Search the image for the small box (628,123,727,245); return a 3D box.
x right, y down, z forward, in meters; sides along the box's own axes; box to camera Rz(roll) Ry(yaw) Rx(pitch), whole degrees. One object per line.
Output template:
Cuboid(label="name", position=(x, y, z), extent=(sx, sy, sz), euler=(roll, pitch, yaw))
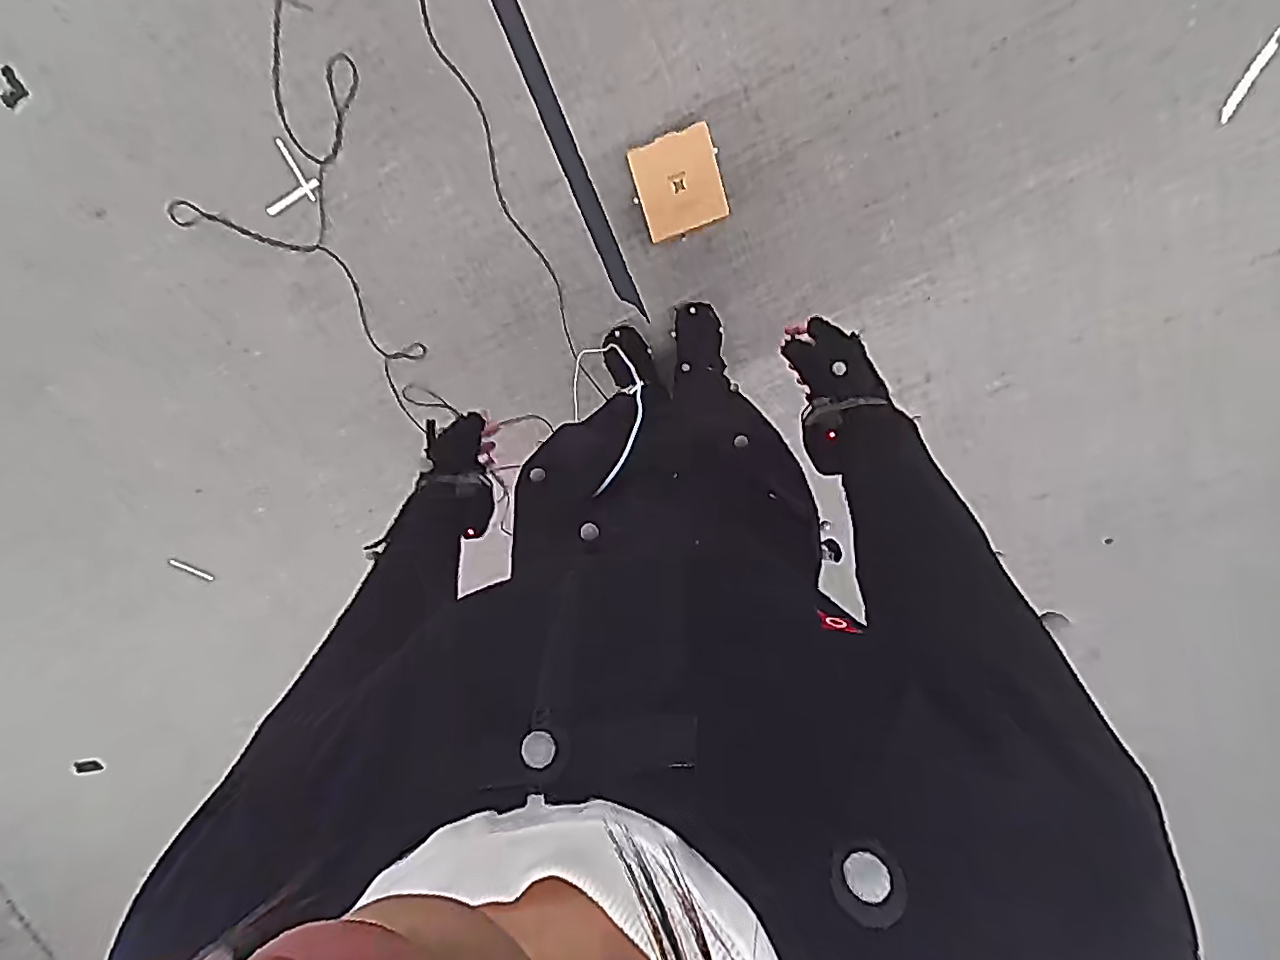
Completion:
Cuboid(label="small box", position=(0.081, -0.622, 1.161), extent=(0.168, 0.176, 0.179), euler=(-16, 109, 11))
